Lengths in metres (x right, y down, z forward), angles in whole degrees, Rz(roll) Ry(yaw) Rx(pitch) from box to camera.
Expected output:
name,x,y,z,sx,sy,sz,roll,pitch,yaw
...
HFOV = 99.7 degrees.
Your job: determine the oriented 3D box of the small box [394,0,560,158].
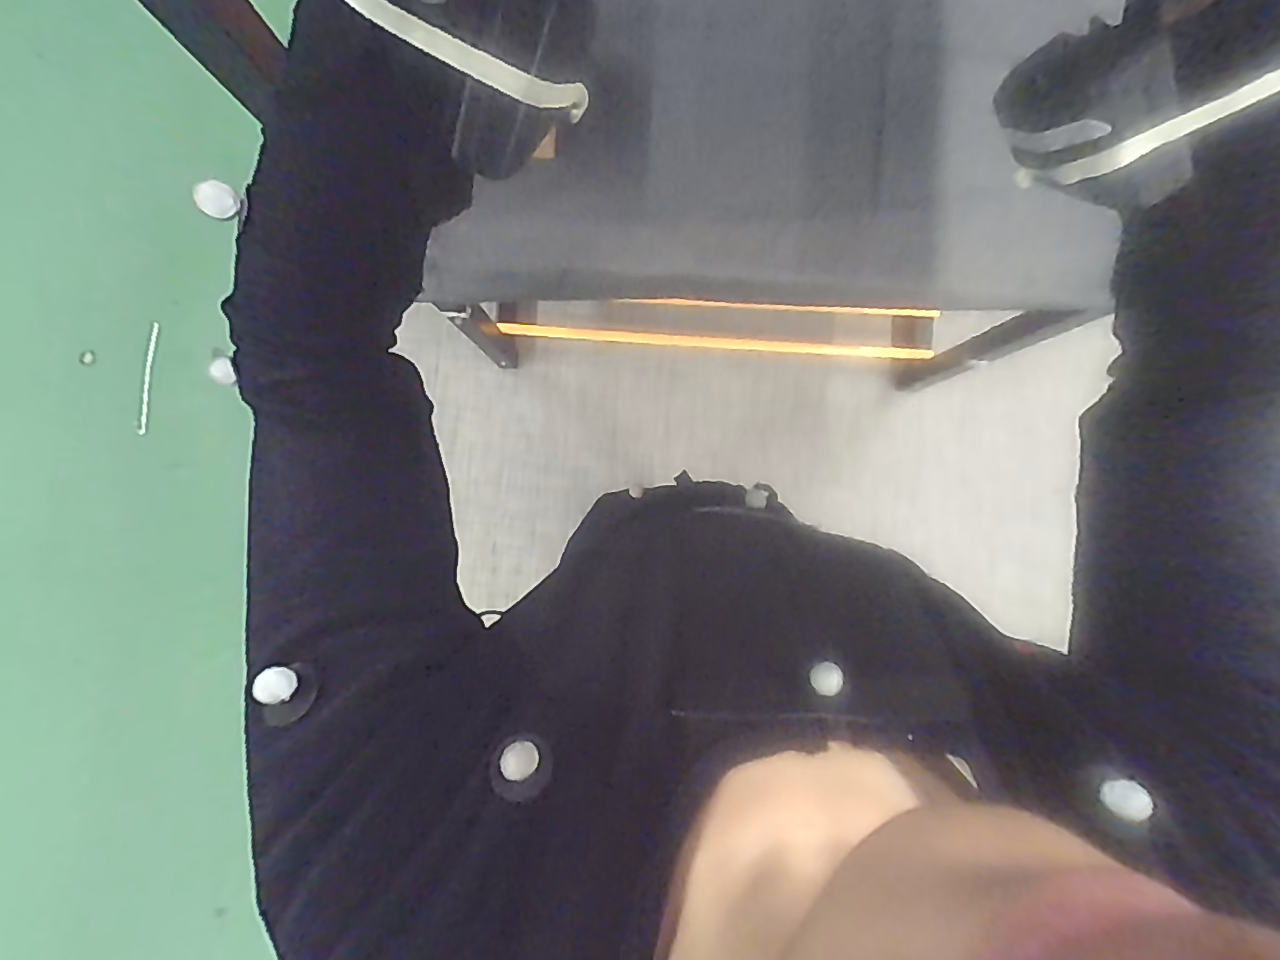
name,x,y,z,sx,sy,sz,roll,pitch,yaw
small box,-0.201,-0.567,0.714,0.168,0.176,0.179,3,88,0
